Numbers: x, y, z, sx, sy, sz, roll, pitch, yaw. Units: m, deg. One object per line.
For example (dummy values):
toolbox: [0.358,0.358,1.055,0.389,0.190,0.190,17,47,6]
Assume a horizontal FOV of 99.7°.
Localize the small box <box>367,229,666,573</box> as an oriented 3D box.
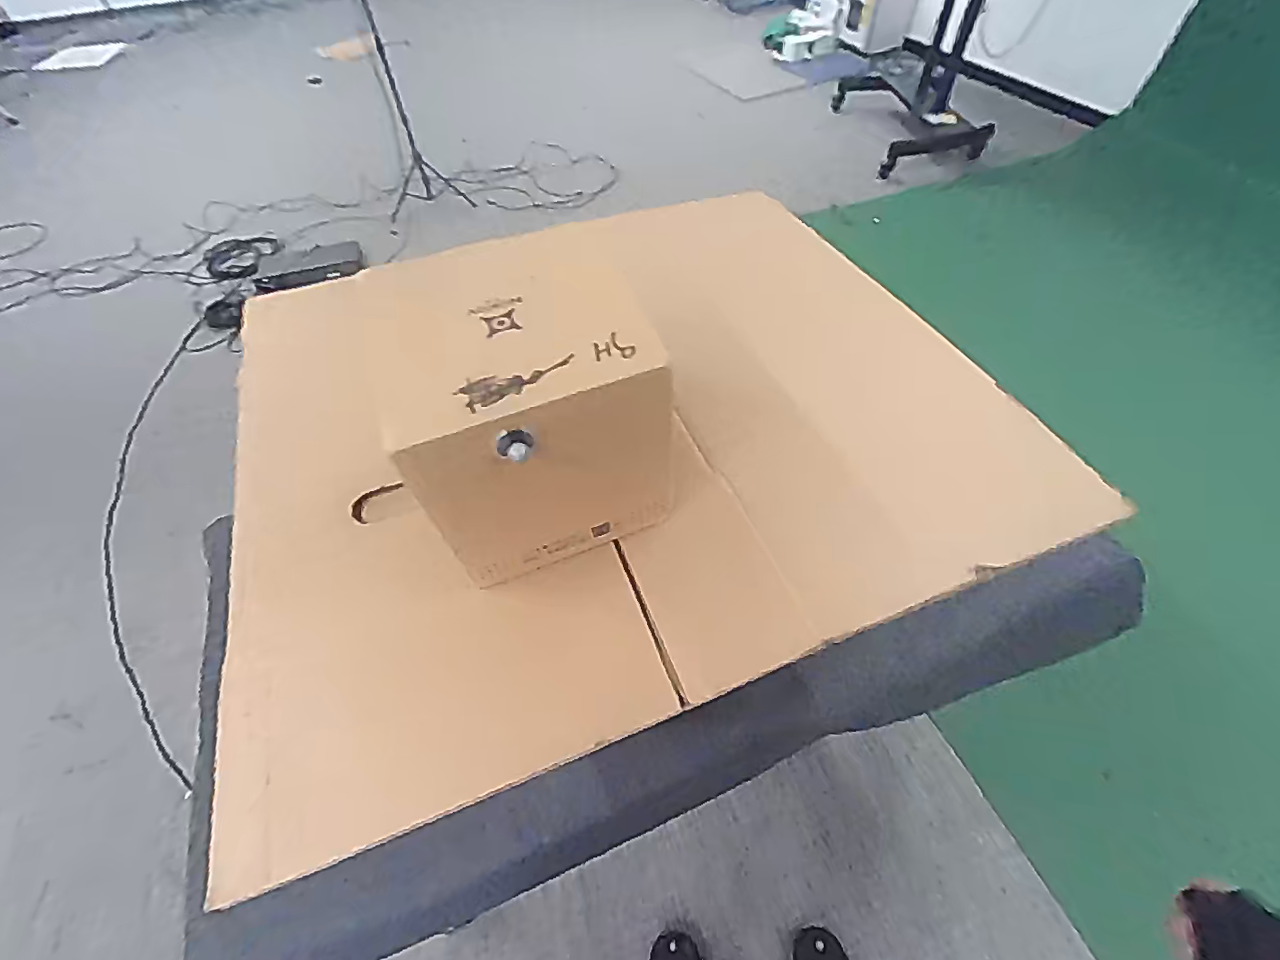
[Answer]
small box: [-0.088,-0.059,0.418,0.168,0.176,0.179,-20,54,-11]
